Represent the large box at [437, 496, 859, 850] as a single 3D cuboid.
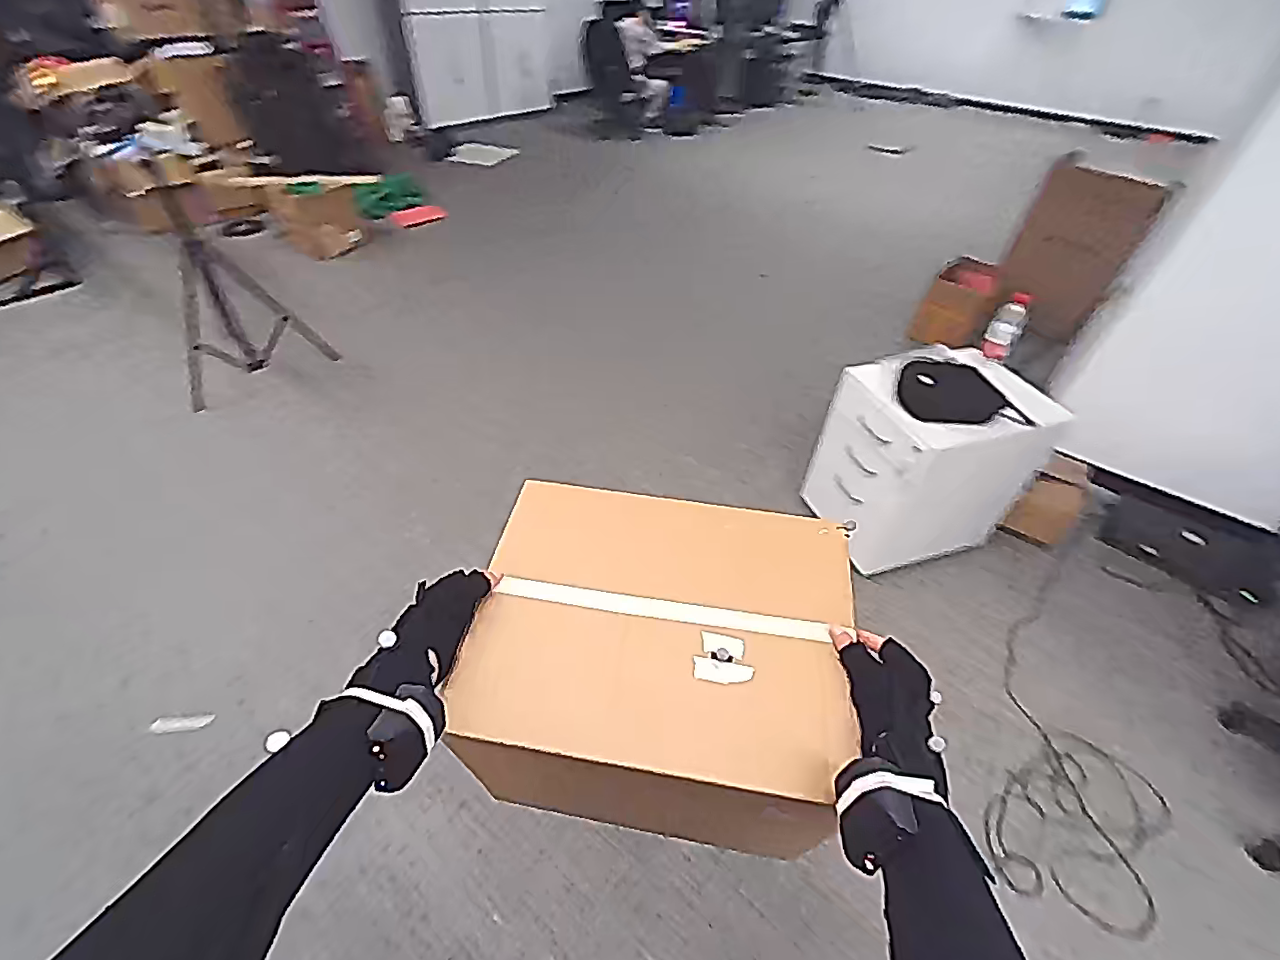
[{"bbox_3d":[0.017,0.252,0.706,0.408,0.320,0.320,7,49,5],"label":"large box"}]
